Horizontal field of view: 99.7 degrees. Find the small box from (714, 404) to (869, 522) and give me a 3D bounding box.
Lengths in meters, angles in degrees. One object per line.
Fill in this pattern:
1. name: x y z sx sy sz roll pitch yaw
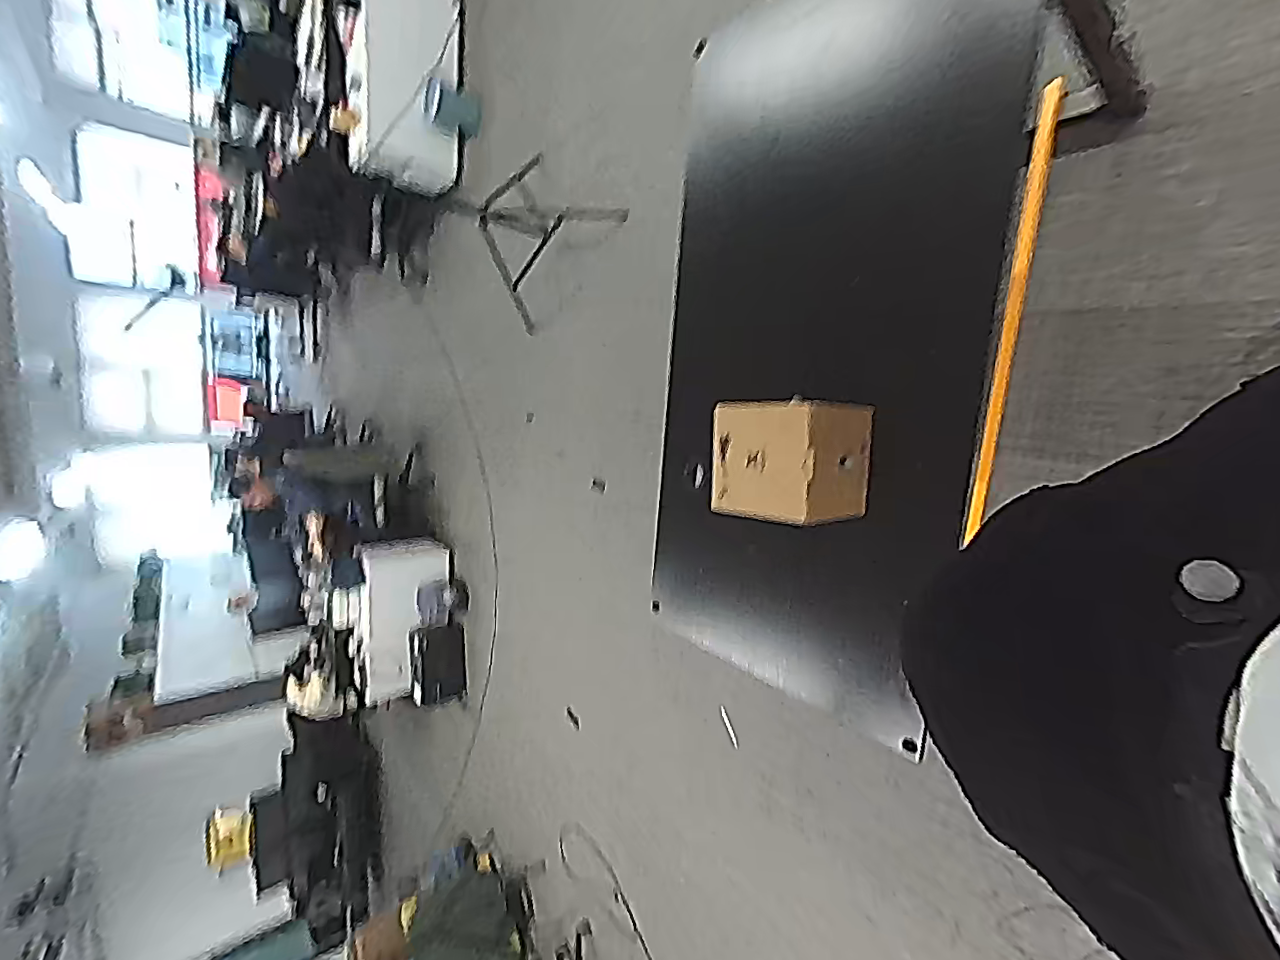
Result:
1. small box: 0.238 -0.035 0.851 0.179 0.176 0.168 7 98 49
